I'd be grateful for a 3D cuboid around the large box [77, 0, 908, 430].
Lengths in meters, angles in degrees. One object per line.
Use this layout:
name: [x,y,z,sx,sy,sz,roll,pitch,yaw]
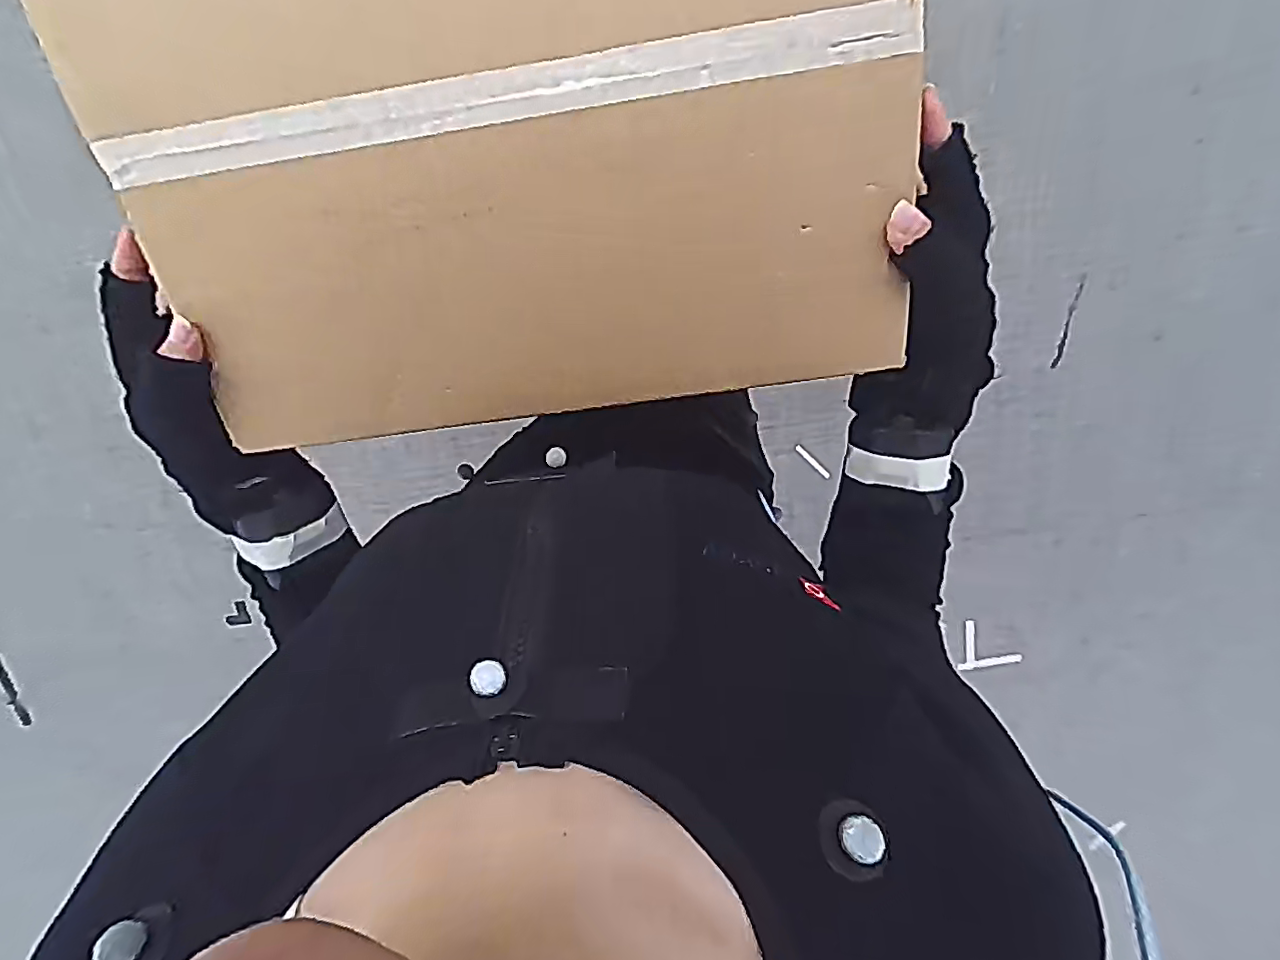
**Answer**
large box: [-0.067,-0.254,0.411,0.408,0.320,0.320,-7,114,4]
